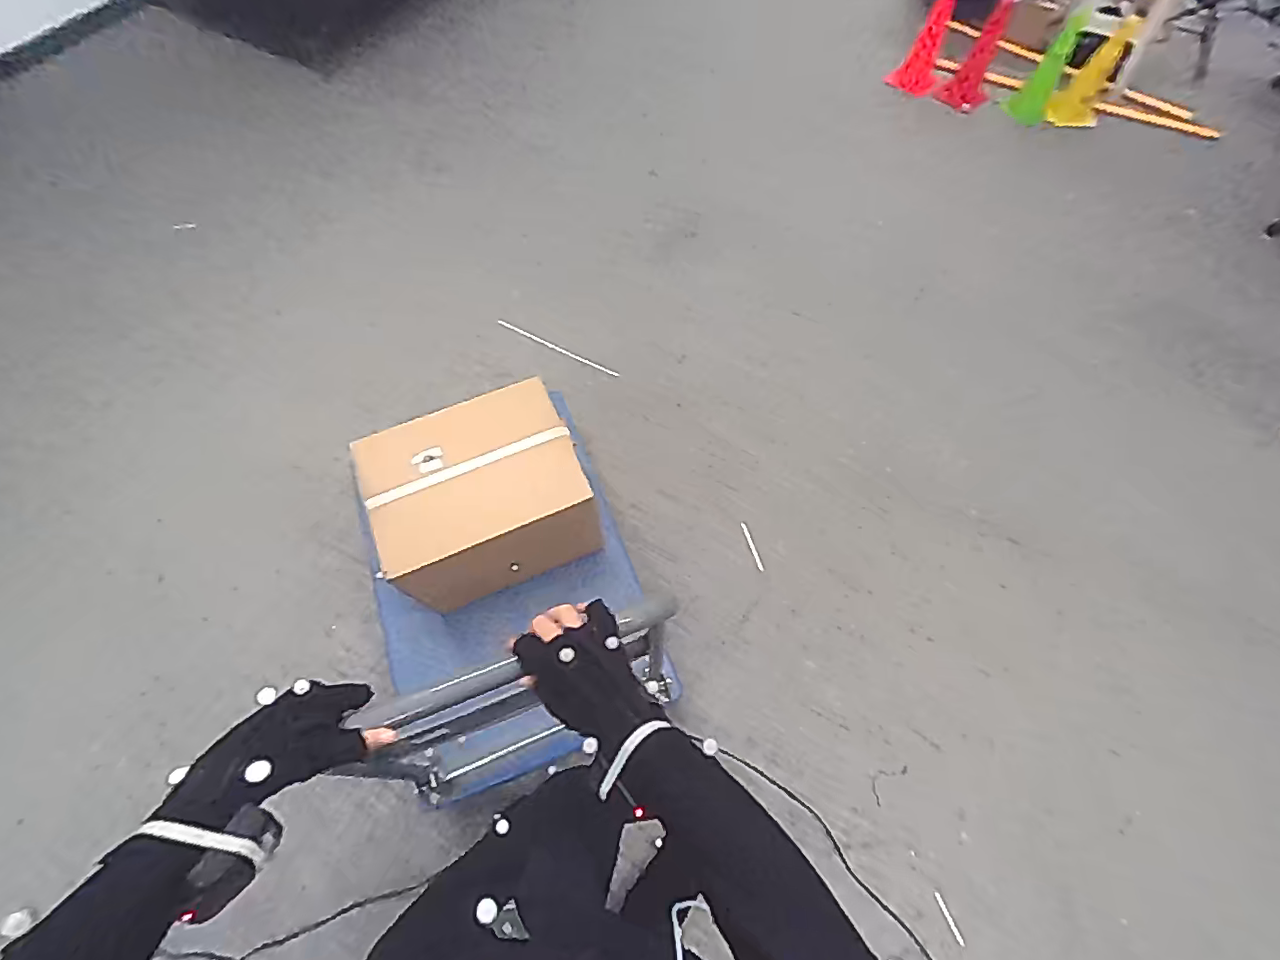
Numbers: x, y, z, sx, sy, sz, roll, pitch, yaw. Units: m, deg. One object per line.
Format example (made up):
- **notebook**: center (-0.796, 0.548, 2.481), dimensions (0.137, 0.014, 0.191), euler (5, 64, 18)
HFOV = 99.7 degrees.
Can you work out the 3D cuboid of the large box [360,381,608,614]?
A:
- **large box**: center (-0.319, 0.051, 1.199), dimensions (0.408, 0.320, 0.320), euler (-24, 66, -10)
